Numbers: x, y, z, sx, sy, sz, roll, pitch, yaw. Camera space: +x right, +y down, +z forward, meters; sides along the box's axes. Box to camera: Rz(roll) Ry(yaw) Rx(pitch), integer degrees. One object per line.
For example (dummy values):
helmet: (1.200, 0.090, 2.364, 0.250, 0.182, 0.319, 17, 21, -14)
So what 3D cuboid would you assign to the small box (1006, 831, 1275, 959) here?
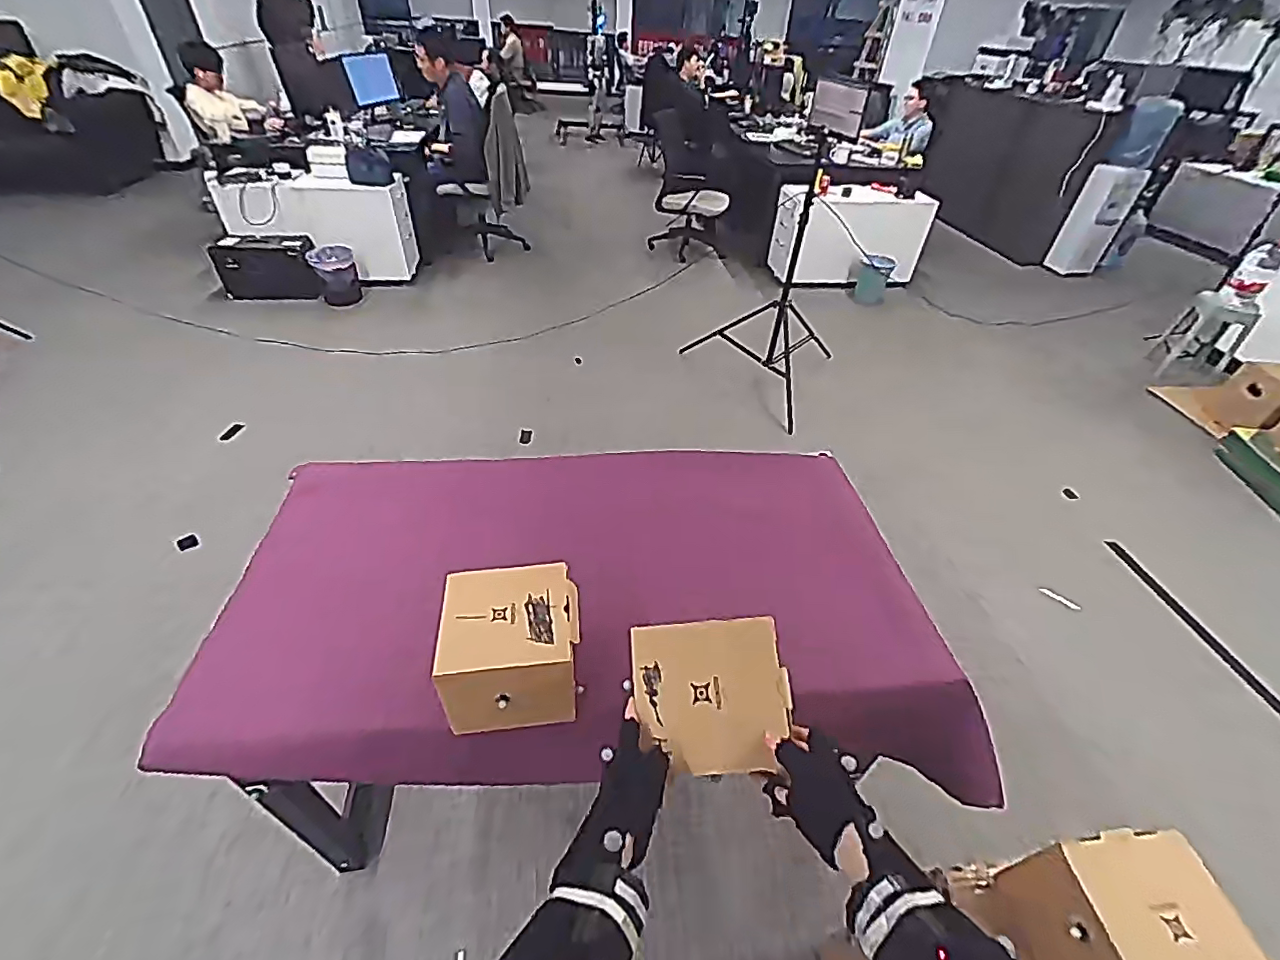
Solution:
small box: (0.598, 0.557, 0.658, 0.168, 0.176, 0.179, -3, 43, -4)

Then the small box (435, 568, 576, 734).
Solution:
small box: (-0.185, 0.251, 0.796, 0.179, 0.176, 0.168, -4, 41, -7)

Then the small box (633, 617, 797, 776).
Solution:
small box: (0.087, 0.279, 0.698, 0.179, 0.176, 0.168, -6, 63, 3)
